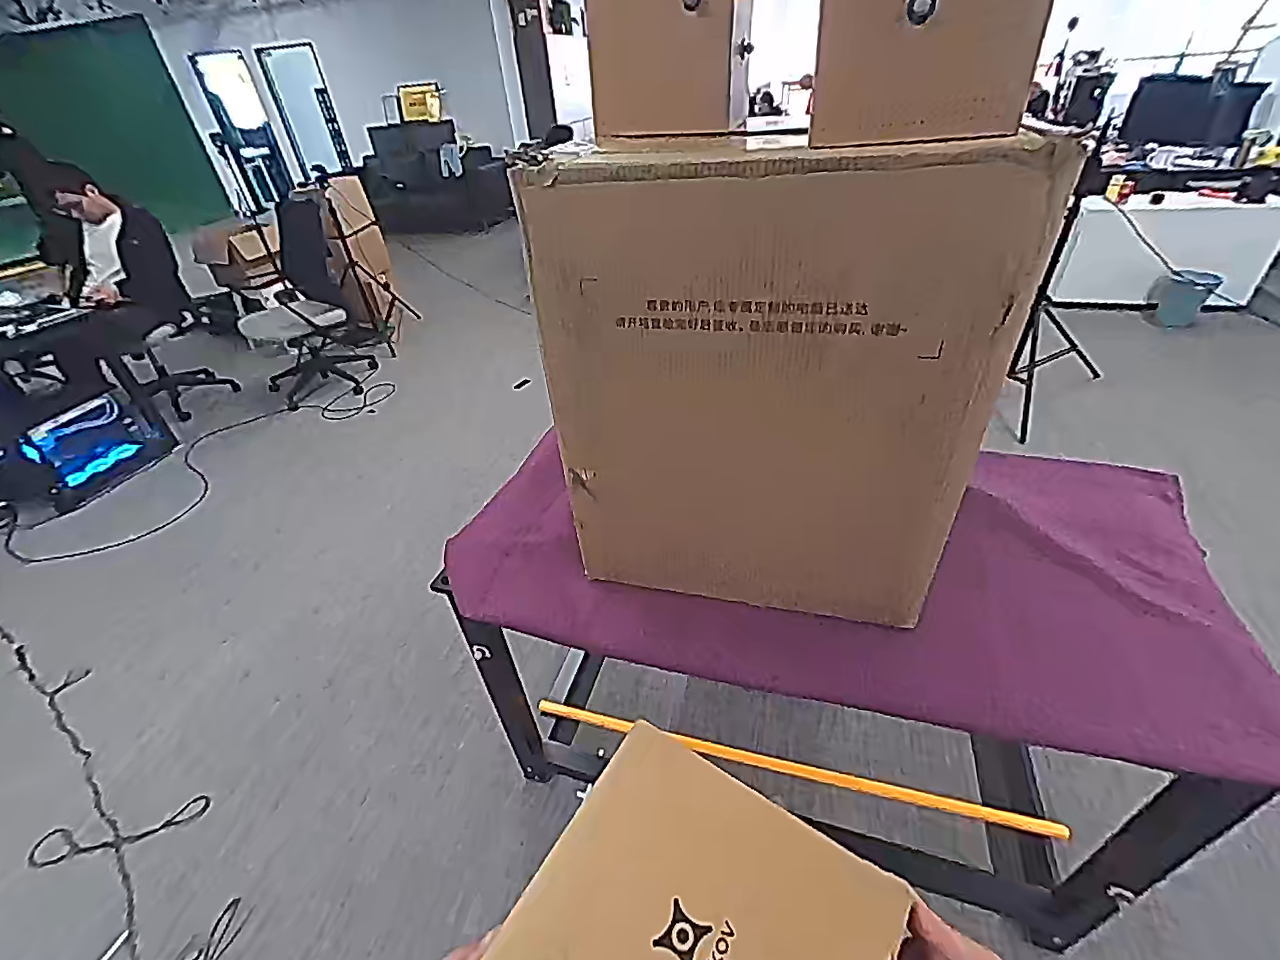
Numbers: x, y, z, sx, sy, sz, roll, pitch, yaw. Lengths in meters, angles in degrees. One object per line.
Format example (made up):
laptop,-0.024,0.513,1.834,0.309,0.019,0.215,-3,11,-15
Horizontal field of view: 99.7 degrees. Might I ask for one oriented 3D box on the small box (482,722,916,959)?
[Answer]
small box,0.035,0.295,0.328,0.179,0.176,0.168,22,49,27
